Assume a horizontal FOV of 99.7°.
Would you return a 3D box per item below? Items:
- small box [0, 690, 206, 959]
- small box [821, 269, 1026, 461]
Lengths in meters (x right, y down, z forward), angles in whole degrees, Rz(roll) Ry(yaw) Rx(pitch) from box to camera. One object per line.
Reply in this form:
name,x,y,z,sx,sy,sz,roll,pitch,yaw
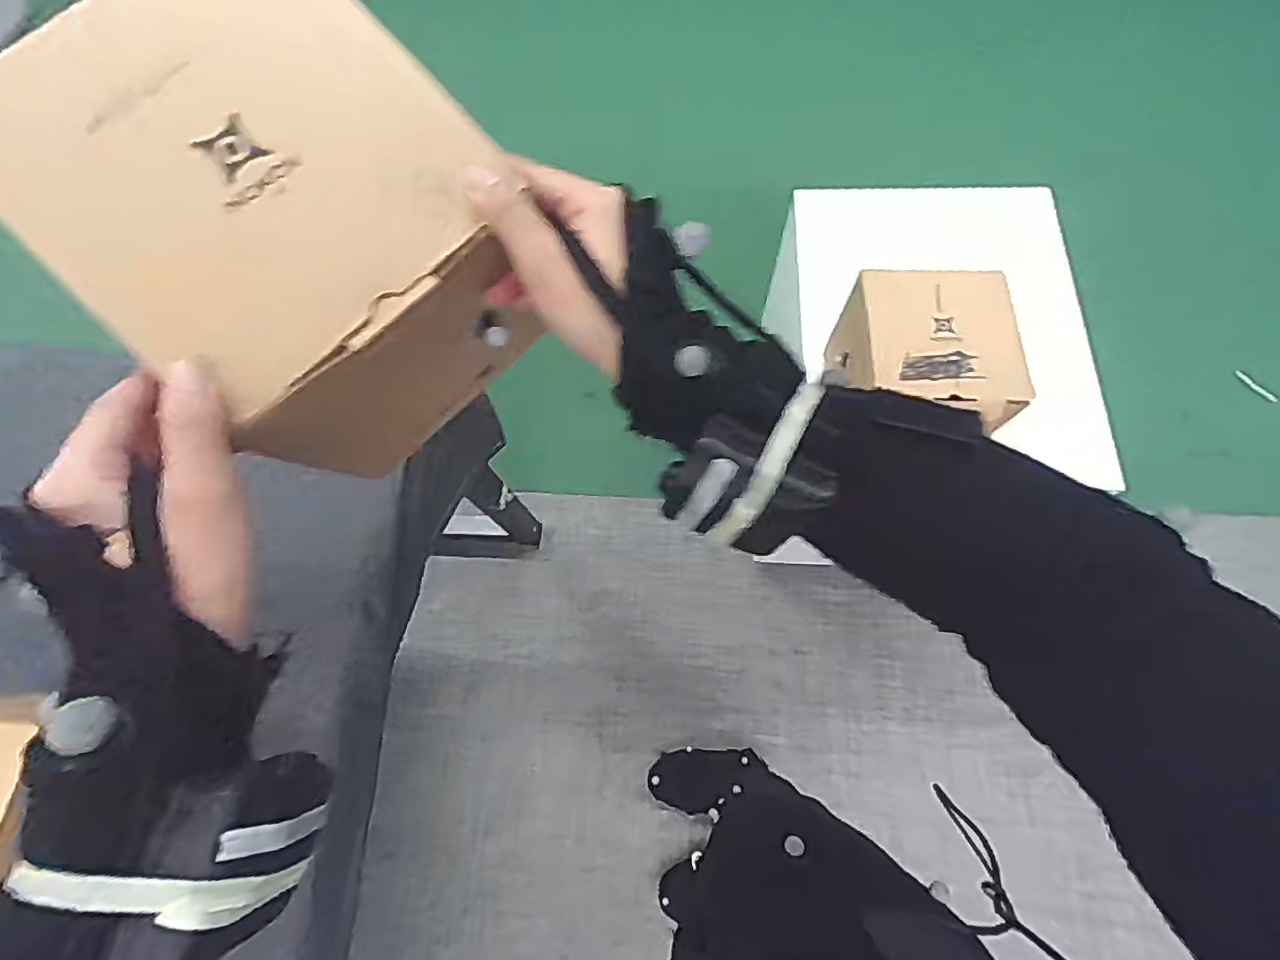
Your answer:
small box,-0.508,0.264,0.431,0.179,0.176,0.168,3,71,5
small box,0.331,-0.133,0.671,0.168,0.176,0.179,3,69,3
